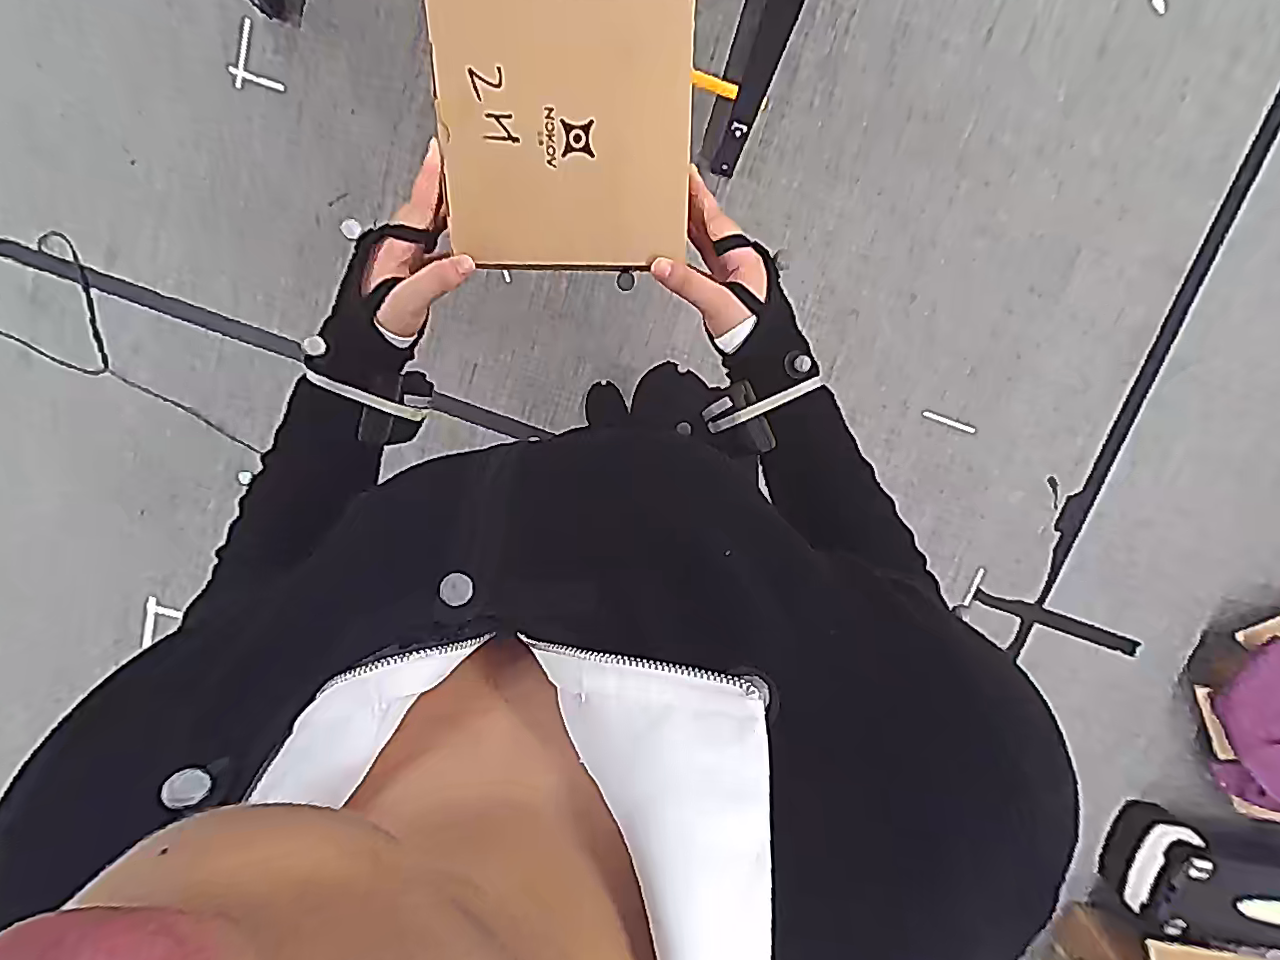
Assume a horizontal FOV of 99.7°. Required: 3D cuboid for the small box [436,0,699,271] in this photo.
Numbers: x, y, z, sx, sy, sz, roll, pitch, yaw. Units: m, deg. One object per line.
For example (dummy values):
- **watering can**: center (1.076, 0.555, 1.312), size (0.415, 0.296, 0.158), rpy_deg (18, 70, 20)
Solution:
- **small box**: center (-0.052, -0.269, 0.457), size (0.179, 0.176, 0.168), rpy_deg (0, 109, -2)
